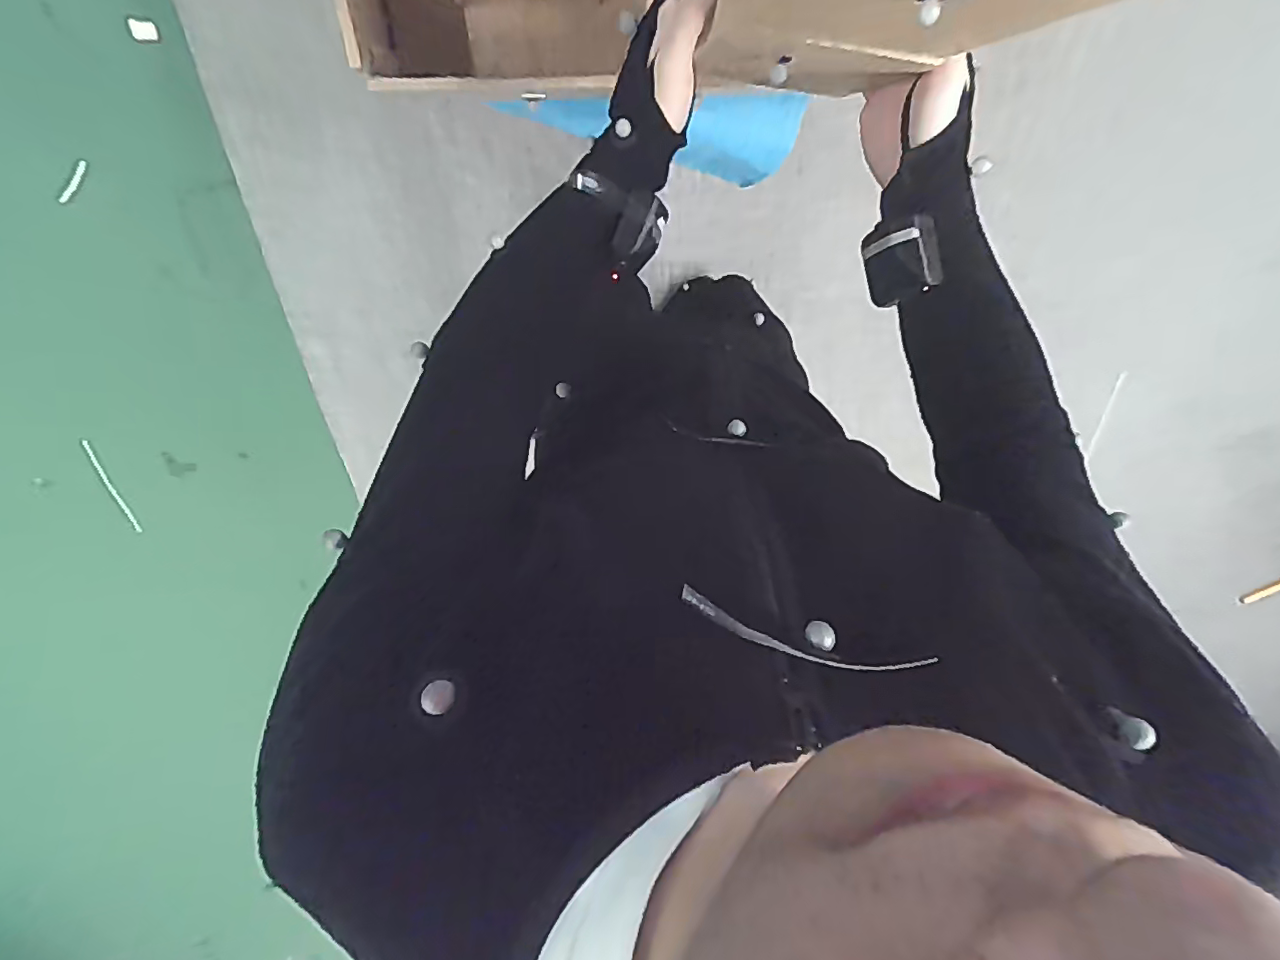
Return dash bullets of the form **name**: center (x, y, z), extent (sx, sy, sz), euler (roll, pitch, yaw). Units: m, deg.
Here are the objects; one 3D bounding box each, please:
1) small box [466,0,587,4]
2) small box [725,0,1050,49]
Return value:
- **small box**: center (-0.125, -0.610, 0.546), extent (0.179, 0.176, 0.168), euler (-6, 120, -5)
- **small box**: center (0.152, -0.348, 0.278), extent (0.179, 0.176, 0.168), euler (2, 119, -7)
